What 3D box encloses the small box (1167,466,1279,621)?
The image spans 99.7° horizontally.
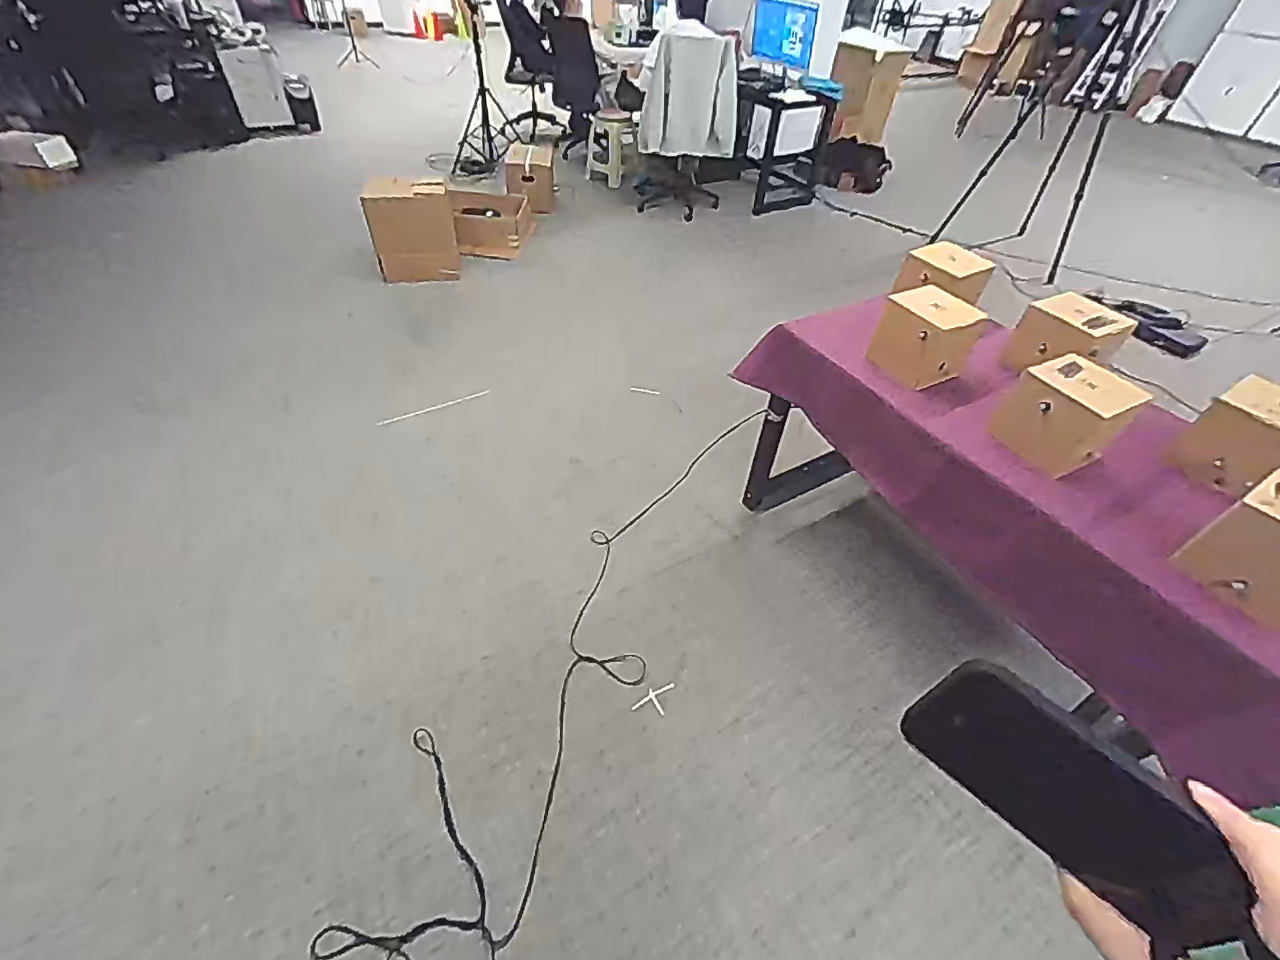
[{"bbox_3d":[1.071,0.112,0.909,0.168,0.176,0.179,-22,51,-24],"label":"small box"}]

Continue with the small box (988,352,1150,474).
[{"bbox_3d":[0.892,-0.142,1.145,0.168,0.176,0.179,-19,51,-21],"label":"small box"}]

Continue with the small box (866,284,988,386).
[{"bbox_3d":[0.701,-0.360,1.345,0.168,0.176,0.179,-20,51,-22],"label":"small box"}]

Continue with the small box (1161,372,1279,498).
[{"bbox_3d":[1.253,-0.091,1.120,0.179,0.176,0.168,-23,51,-24],"label":"small box"}]
